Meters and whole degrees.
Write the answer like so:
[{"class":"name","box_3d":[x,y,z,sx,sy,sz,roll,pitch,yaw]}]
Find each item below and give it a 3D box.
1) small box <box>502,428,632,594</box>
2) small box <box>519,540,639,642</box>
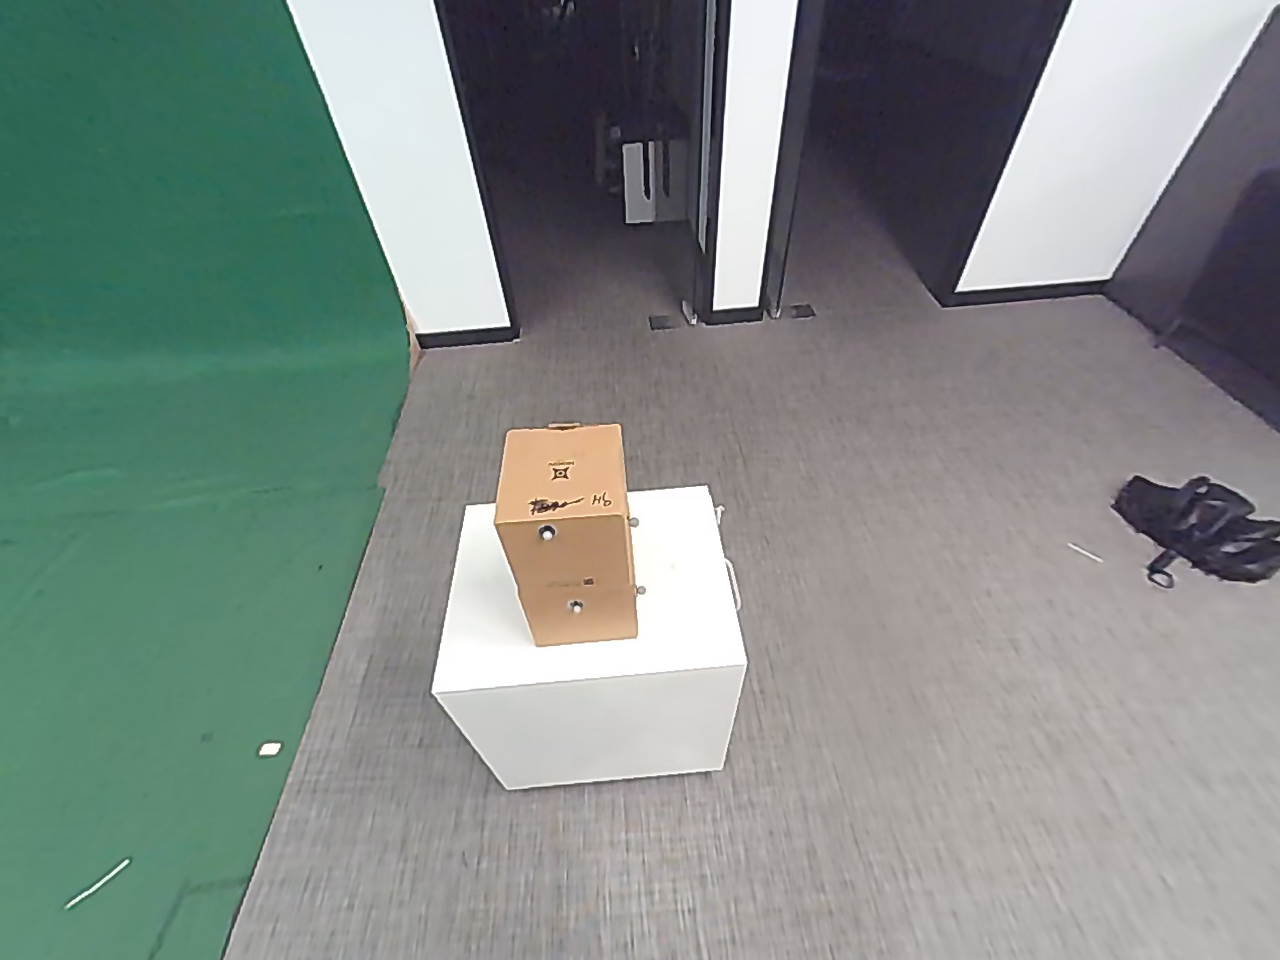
[{"class":"small box","box_3d":[-0.100,0.046,0.798,0.168,0.176,0.179,-5,47,-3]},{"class":"small box","box_3d":[-0.097,0.160,0.912,0.179,0.176,0.168,-4,47,-2]}]
